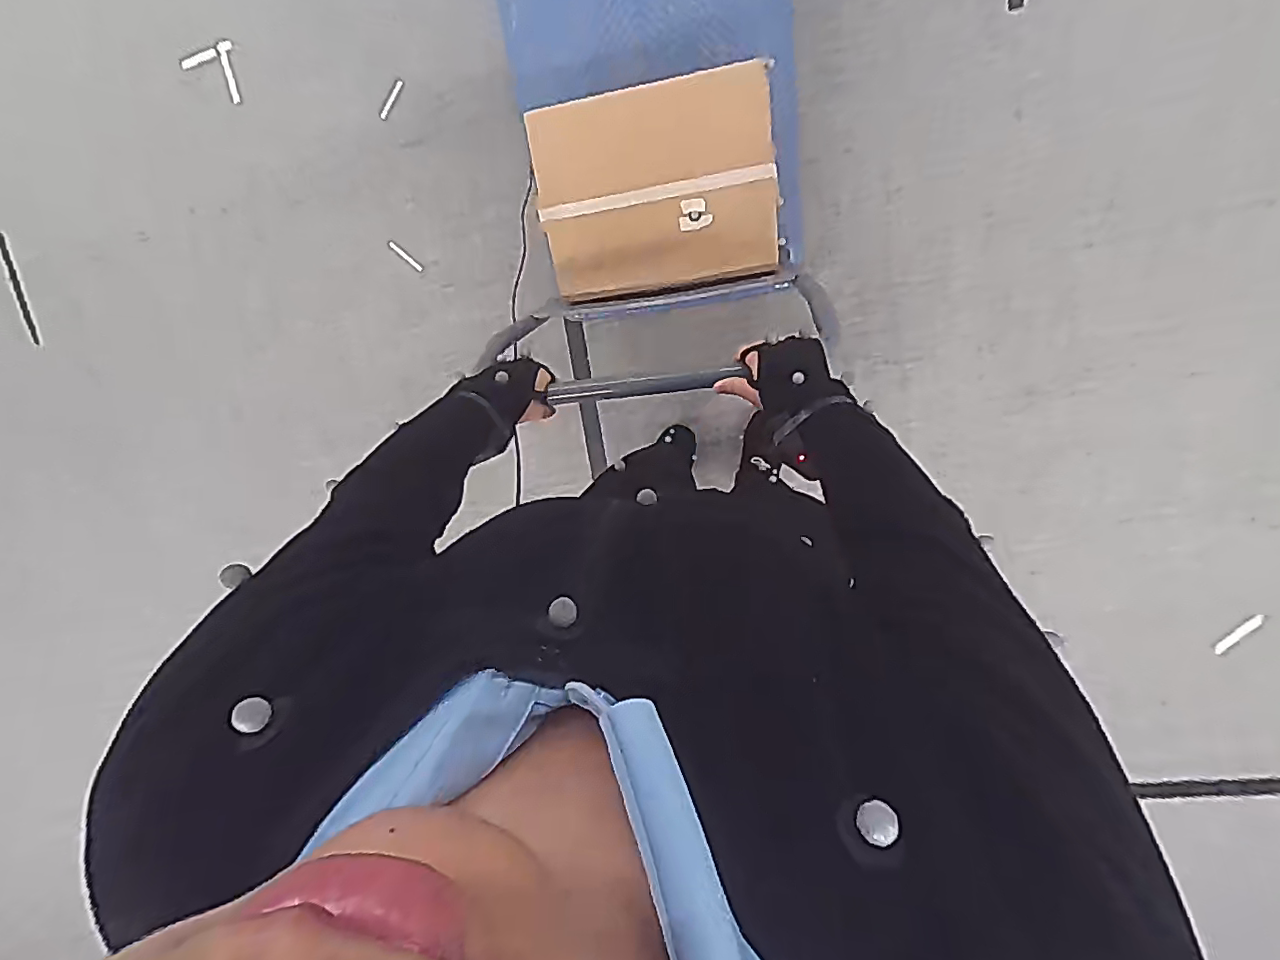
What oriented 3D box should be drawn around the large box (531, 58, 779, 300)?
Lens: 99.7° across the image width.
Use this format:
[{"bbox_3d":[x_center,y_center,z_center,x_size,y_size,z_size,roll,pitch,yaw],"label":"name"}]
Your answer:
[{"bbox_3d":[0.047,-0.562,1.077,0.408,0.320,0.320,-6,113,10],"label":"large box"}]
